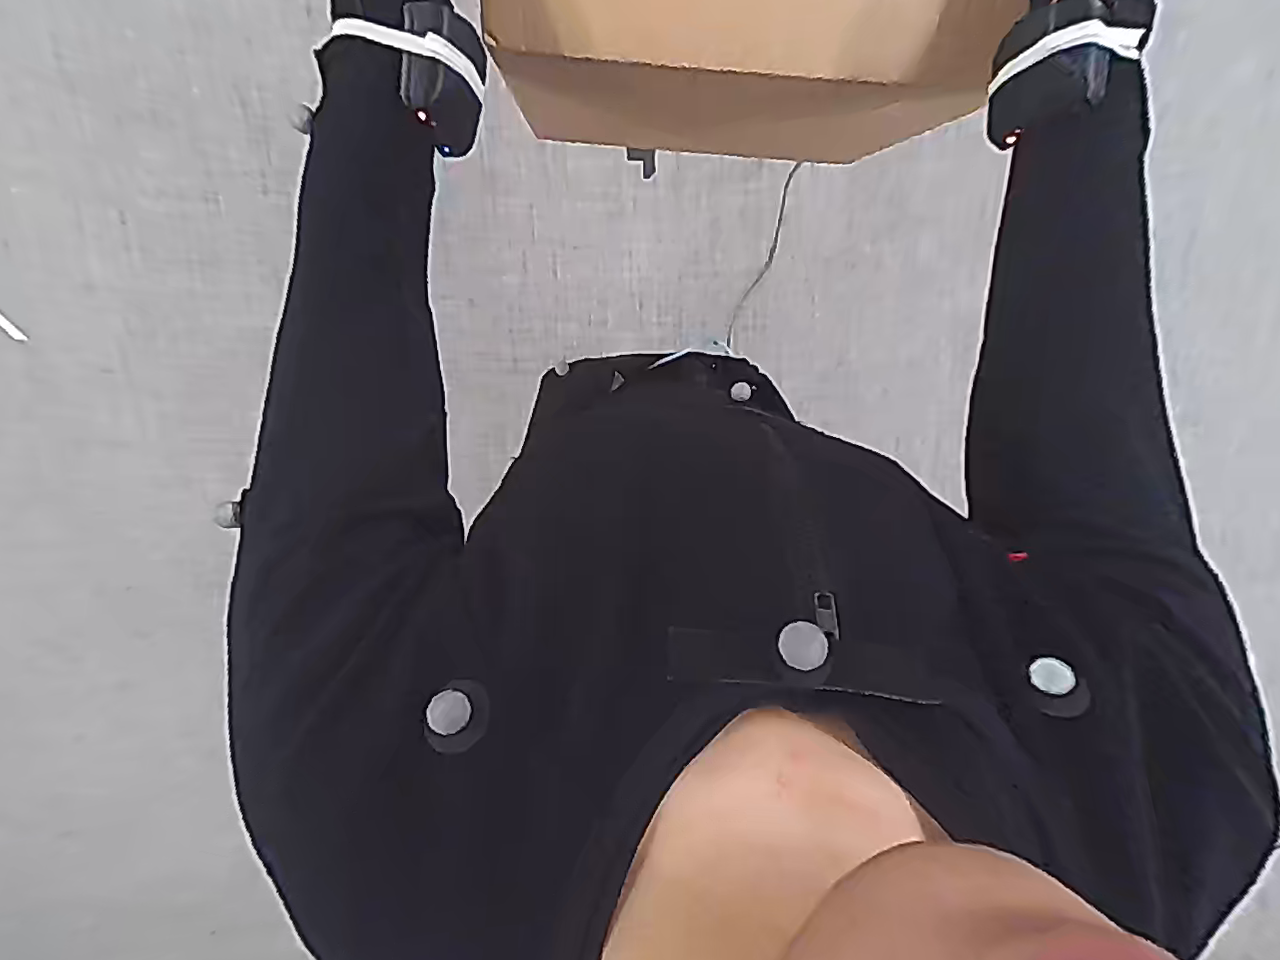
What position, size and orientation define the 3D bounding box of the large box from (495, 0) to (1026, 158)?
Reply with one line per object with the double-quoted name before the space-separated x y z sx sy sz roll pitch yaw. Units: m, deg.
"large box" 0.086 -0.507 0.494 0.408 0.320 0.320 2 112 -5
